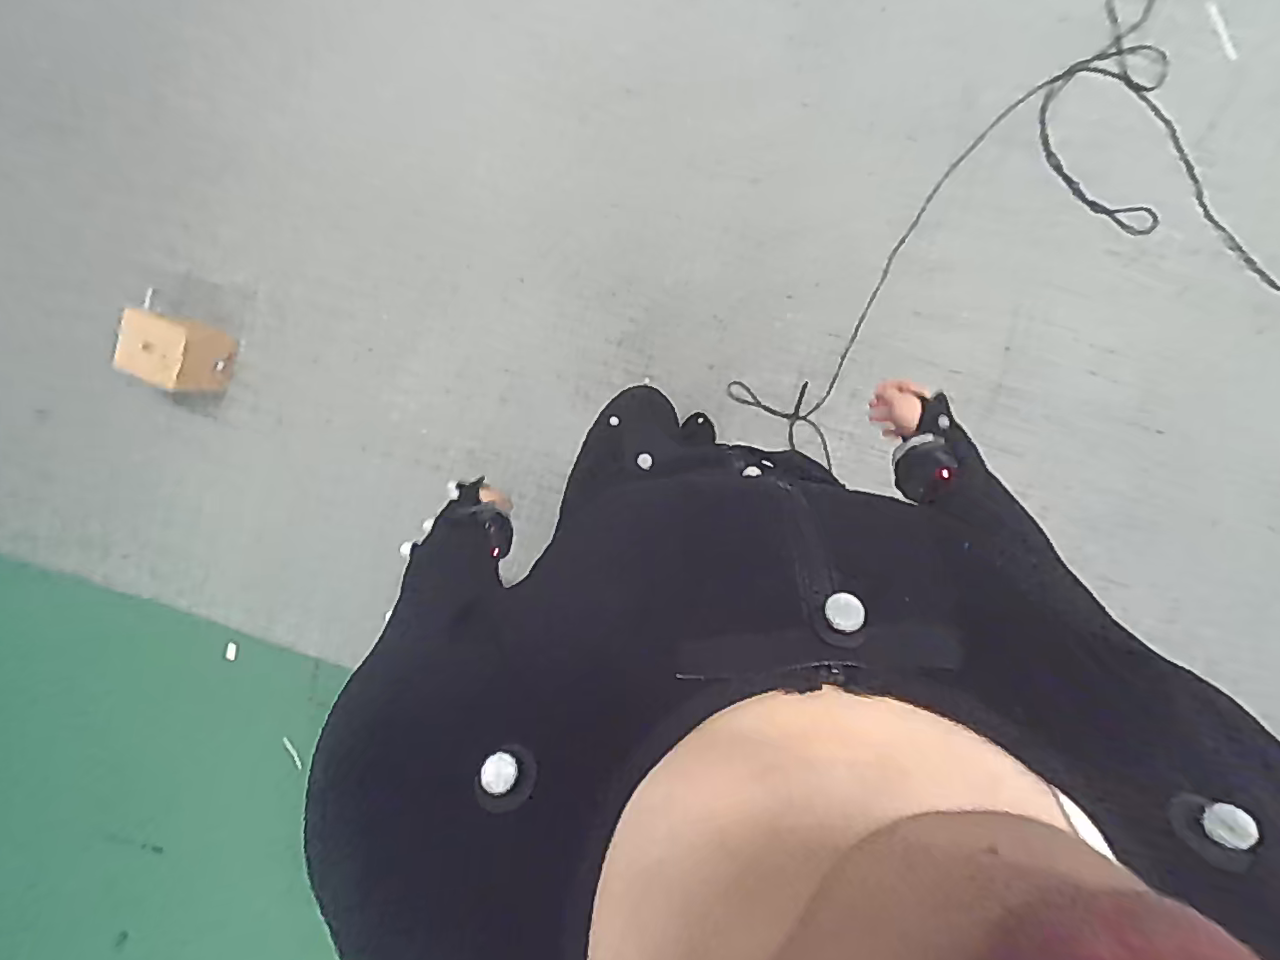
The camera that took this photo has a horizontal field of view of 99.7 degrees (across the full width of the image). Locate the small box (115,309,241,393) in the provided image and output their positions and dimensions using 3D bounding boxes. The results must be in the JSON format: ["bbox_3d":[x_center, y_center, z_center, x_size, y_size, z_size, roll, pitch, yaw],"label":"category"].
[{"bbox_3d":[-1.237,-0.339,1.457,0.179,0.176,0.168,22,100,1],"label":"small box"}]
